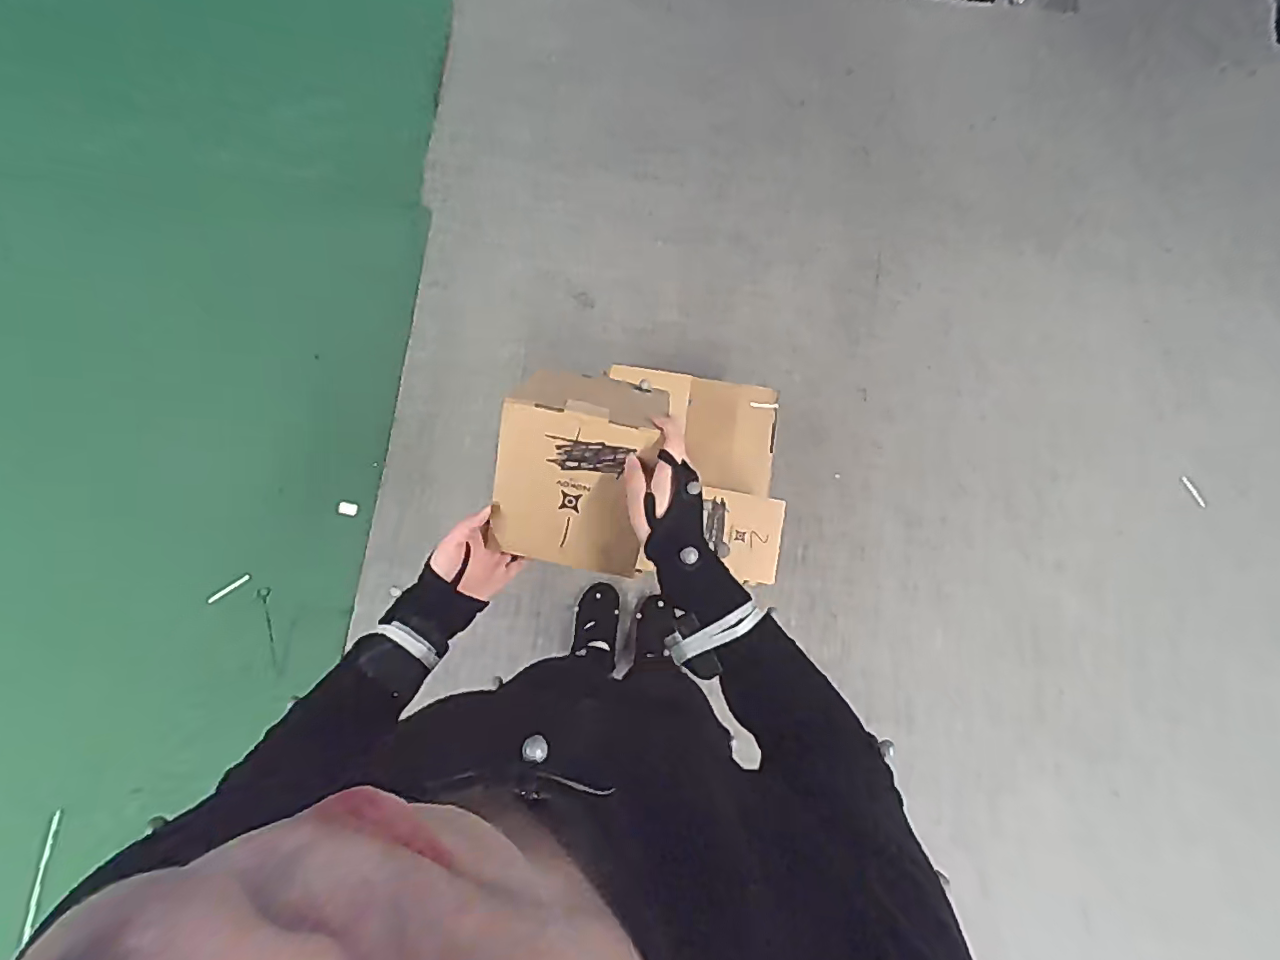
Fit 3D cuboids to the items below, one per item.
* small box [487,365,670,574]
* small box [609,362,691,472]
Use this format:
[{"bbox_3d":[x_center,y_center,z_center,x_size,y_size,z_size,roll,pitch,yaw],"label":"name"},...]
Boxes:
[{"bbox_3d":[-0.066,-0.021,0.630,0.168,0.176,0.179,12,115,-3],"label":"small box"},{"bbox_3d":[0.007,-0.127,1.153,0.168,0.176,0.179,9,80,1],"label":"small box"}]
